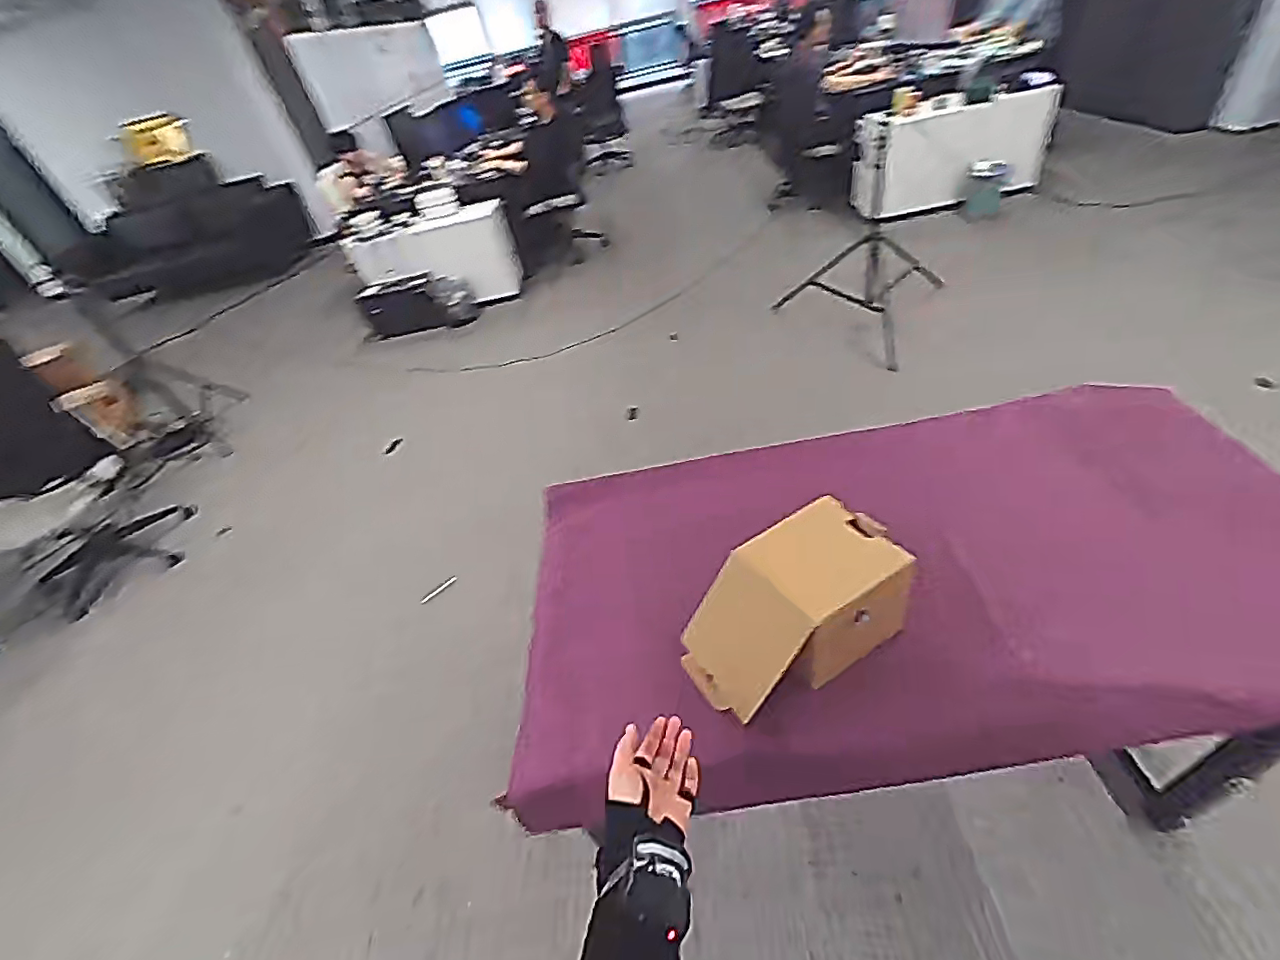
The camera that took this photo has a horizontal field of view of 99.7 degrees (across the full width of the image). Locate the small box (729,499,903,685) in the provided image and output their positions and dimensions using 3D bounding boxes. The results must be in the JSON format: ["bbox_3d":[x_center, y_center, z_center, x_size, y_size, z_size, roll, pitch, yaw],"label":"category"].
[{"bbox_3d":[0.257,0.167,0.802,0.179,0.176,0.168,-28,42,-15],"label":"small box"}]
